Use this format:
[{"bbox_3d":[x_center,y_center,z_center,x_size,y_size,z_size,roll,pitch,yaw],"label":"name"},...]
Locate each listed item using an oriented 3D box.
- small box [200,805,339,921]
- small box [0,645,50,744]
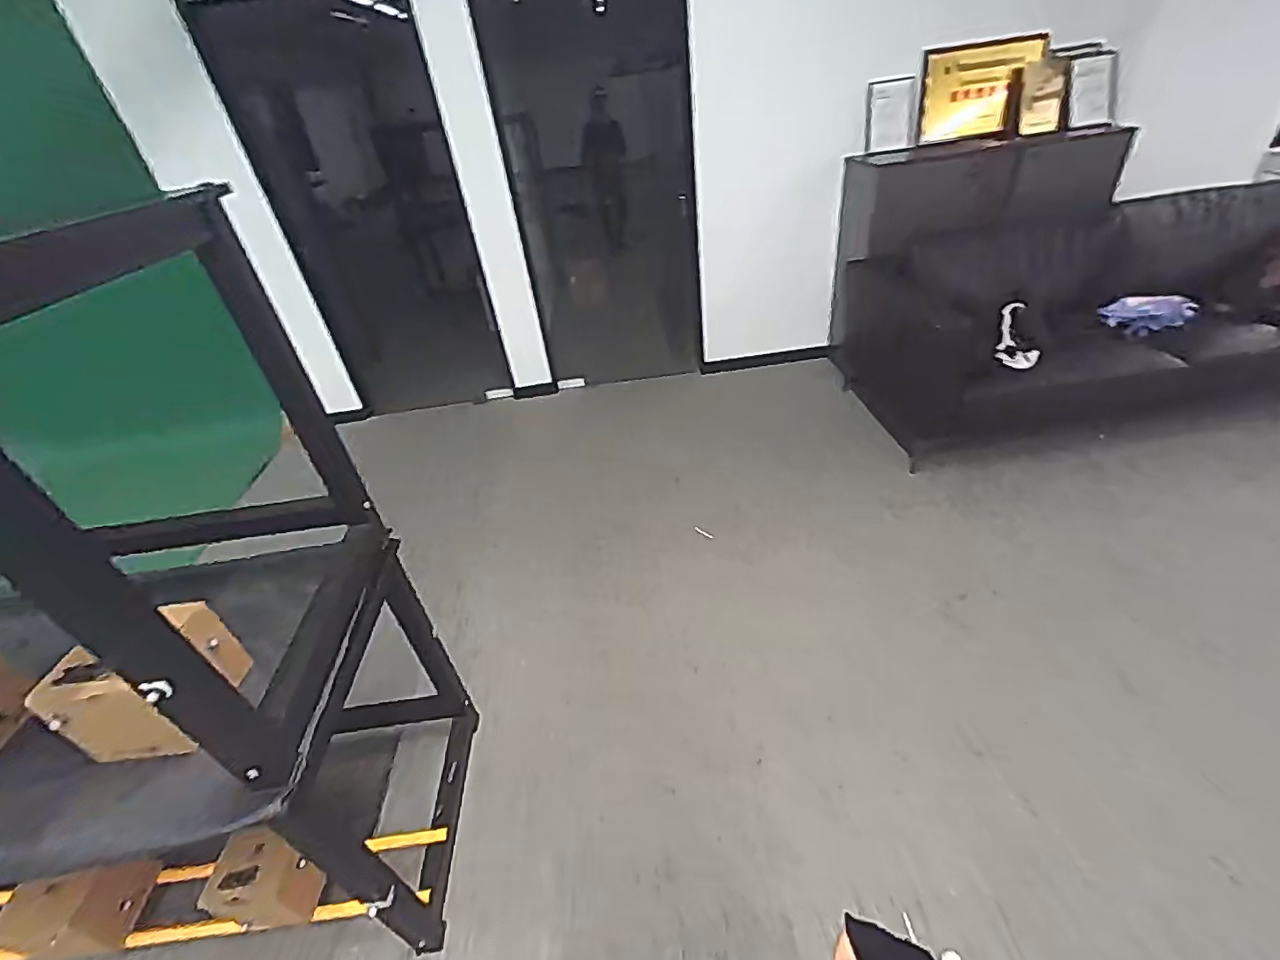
[{"bbox_3d":[-0.815,0.864,1.215,0.168,0.176,0.179,-6,36,3],"label":"small box"},{"bbox_3d":[-1.172,0.375,0.889,0.179,0.176,0.168,-6,36,3],"label":"small box"}]
